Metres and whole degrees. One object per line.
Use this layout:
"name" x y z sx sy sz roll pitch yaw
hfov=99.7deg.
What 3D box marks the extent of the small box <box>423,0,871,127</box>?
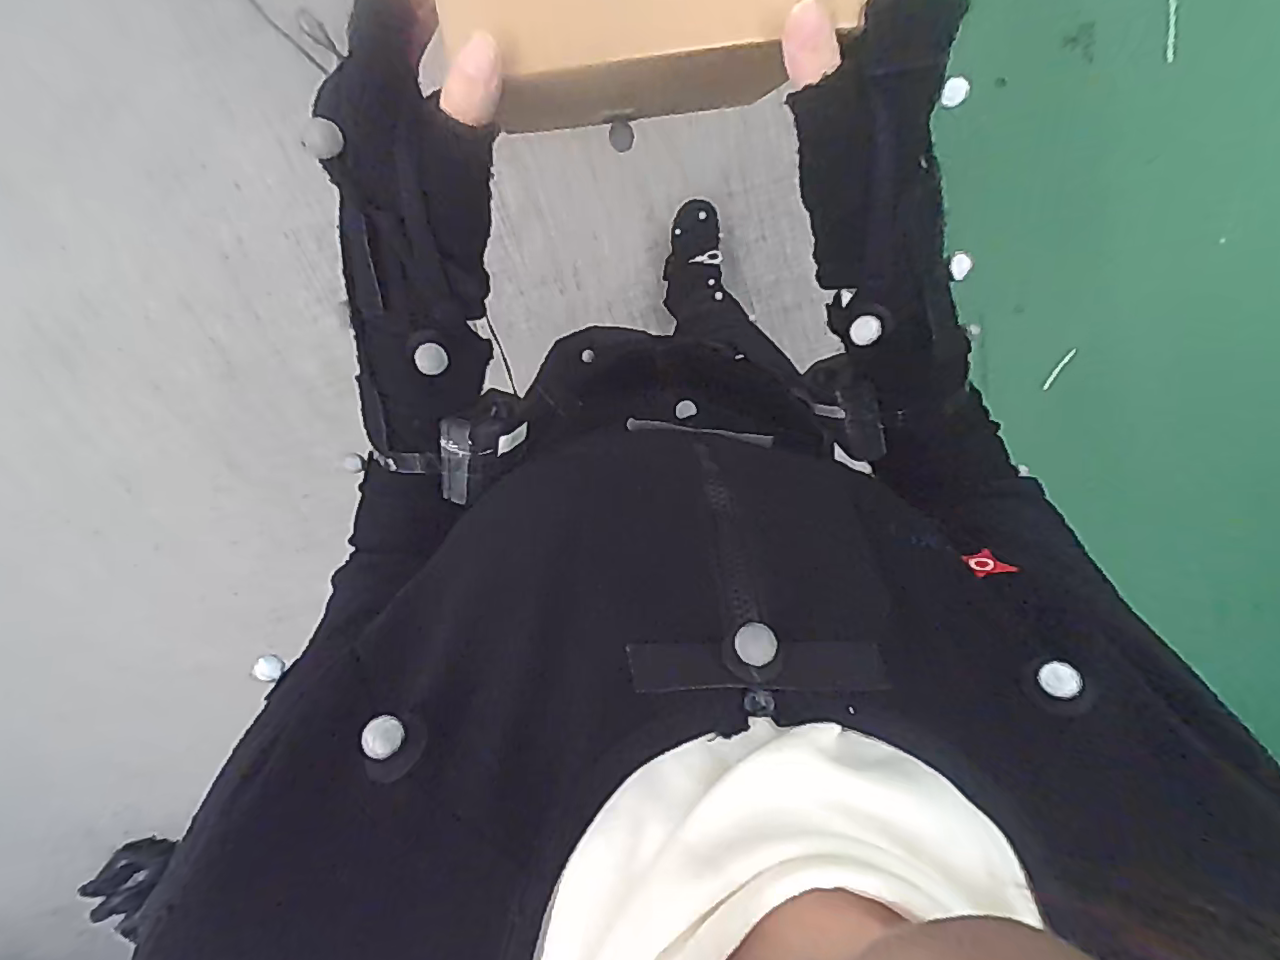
"small box" -0.011 -0.275 0.231 0.168 0.176 0.179 -9 117 -1
